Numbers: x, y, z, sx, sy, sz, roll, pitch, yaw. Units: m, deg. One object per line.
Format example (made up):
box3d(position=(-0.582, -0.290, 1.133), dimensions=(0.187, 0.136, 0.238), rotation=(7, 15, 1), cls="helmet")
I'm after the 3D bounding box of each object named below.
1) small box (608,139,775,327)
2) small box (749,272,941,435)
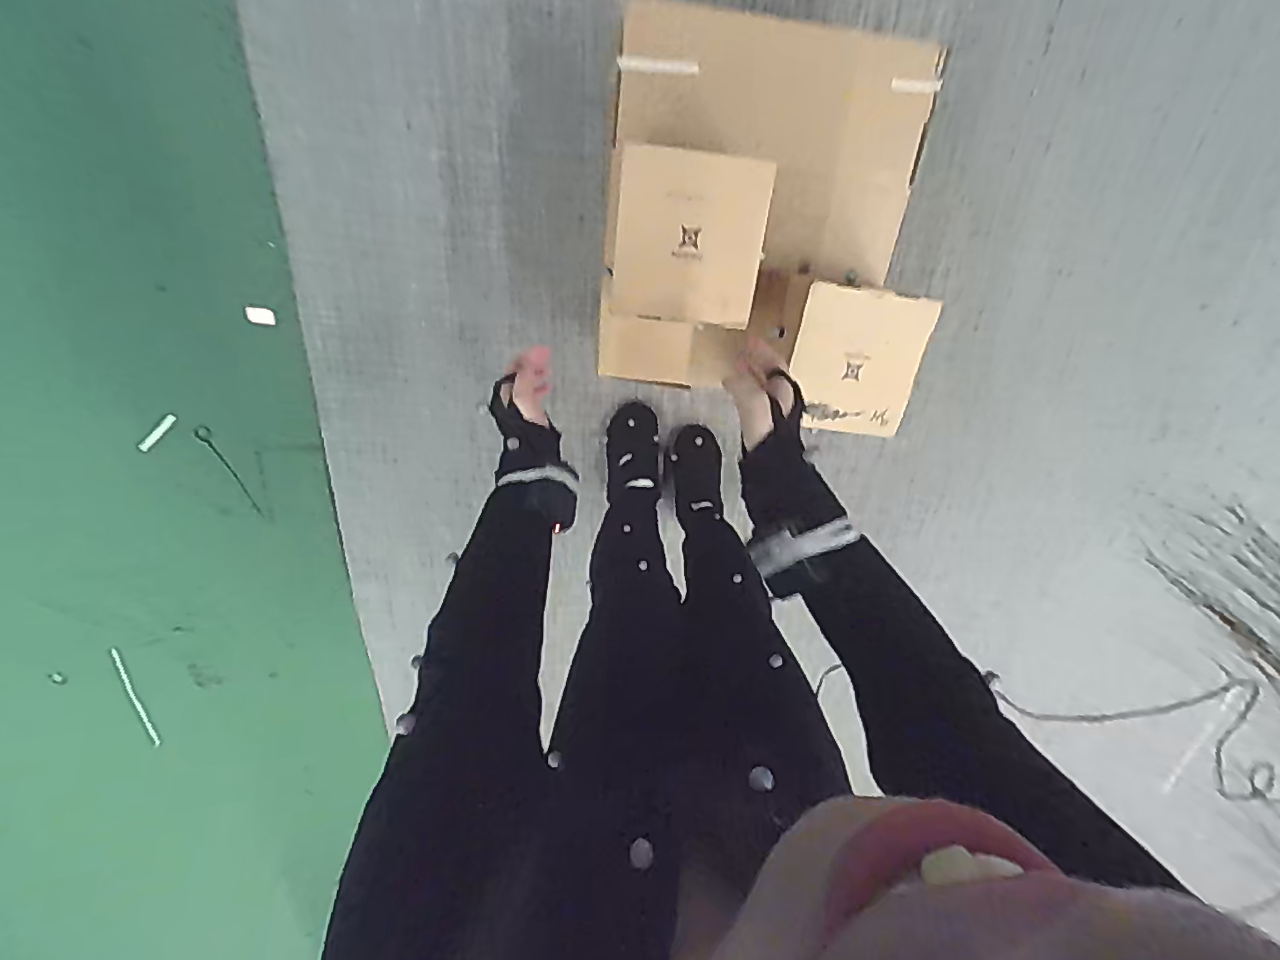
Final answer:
box3d(position=(0.052, -0.299, 0.672), dimensions=(0.168, 0.176, 0.179), rotation=(5, 113, -4), cls="small box")
box3d(position=(0.258, -0.178, 0.730), dimensions=(0.168, 0.176, 0.179), rotation=(7, 113, -6), cls="small box")
